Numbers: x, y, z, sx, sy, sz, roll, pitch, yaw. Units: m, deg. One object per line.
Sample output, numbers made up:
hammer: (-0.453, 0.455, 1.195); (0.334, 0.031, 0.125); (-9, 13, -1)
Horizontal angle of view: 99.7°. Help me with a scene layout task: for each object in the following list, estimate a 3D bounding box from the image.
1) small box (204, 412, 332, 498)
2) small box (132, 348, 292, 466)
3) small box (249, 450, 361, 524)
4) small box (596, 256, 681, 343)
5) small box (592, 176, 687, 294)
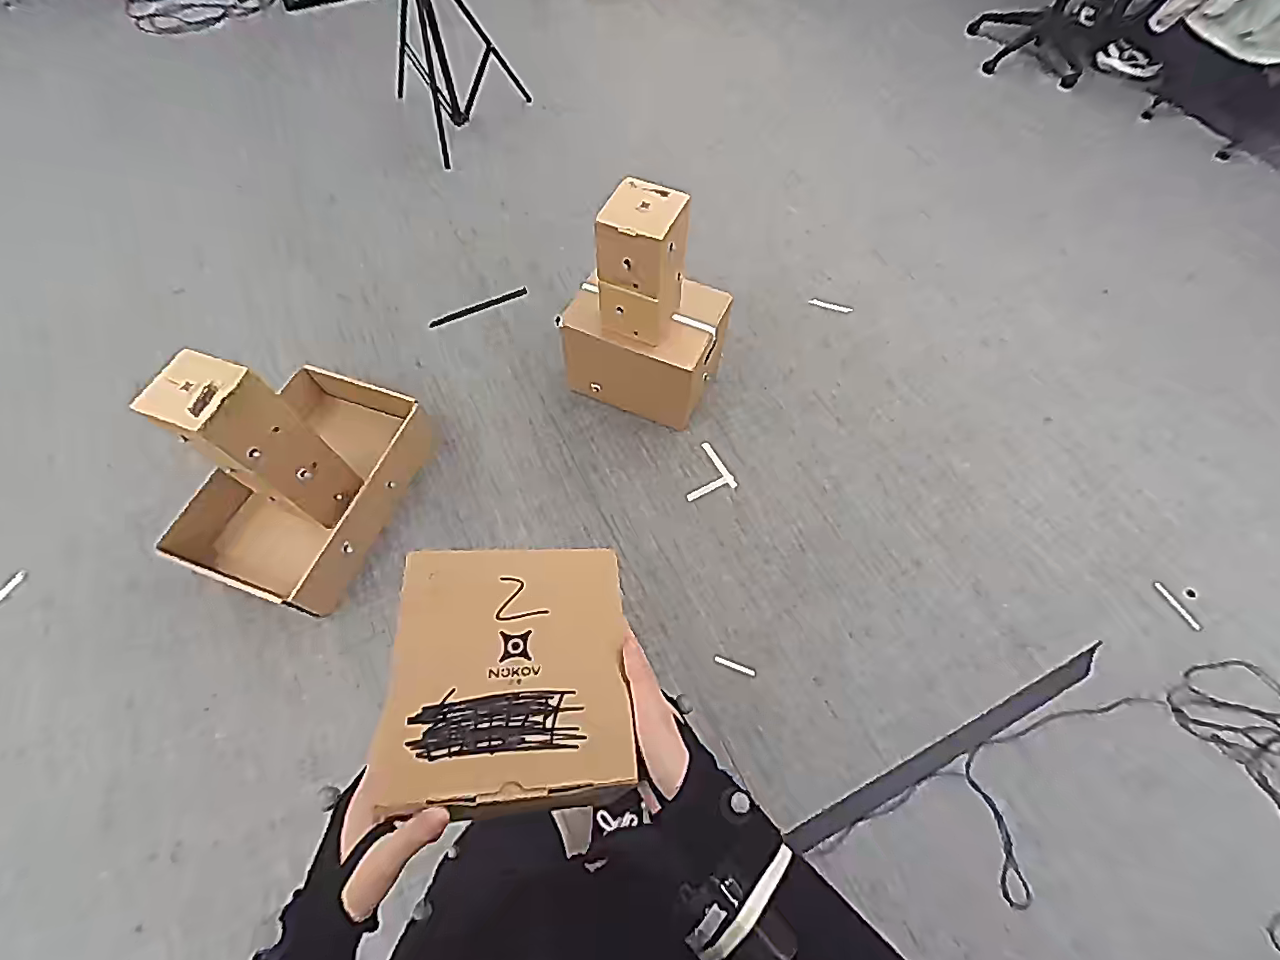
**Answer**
small box: (-0.906, -0.076, 1.320); (0.179, 0.176, 0.168); (19, 65, 9)
small box: (-0.911, -0.151, 1.173); (0.179, 0.176, 0.168); (18, 65, 10)
small box: (-0.906, -0.001, 1.464); (0.179, 0.176, 0.168); (20, 65, 10)
small box: (-0.001, -0.496, 1.433); (0.168, 0.176, 0.179); (22, 65, 10)
small box: (0.002, -0.579, 1.291); (0.168, 0.176, 0.179); (22, 66, 10)
